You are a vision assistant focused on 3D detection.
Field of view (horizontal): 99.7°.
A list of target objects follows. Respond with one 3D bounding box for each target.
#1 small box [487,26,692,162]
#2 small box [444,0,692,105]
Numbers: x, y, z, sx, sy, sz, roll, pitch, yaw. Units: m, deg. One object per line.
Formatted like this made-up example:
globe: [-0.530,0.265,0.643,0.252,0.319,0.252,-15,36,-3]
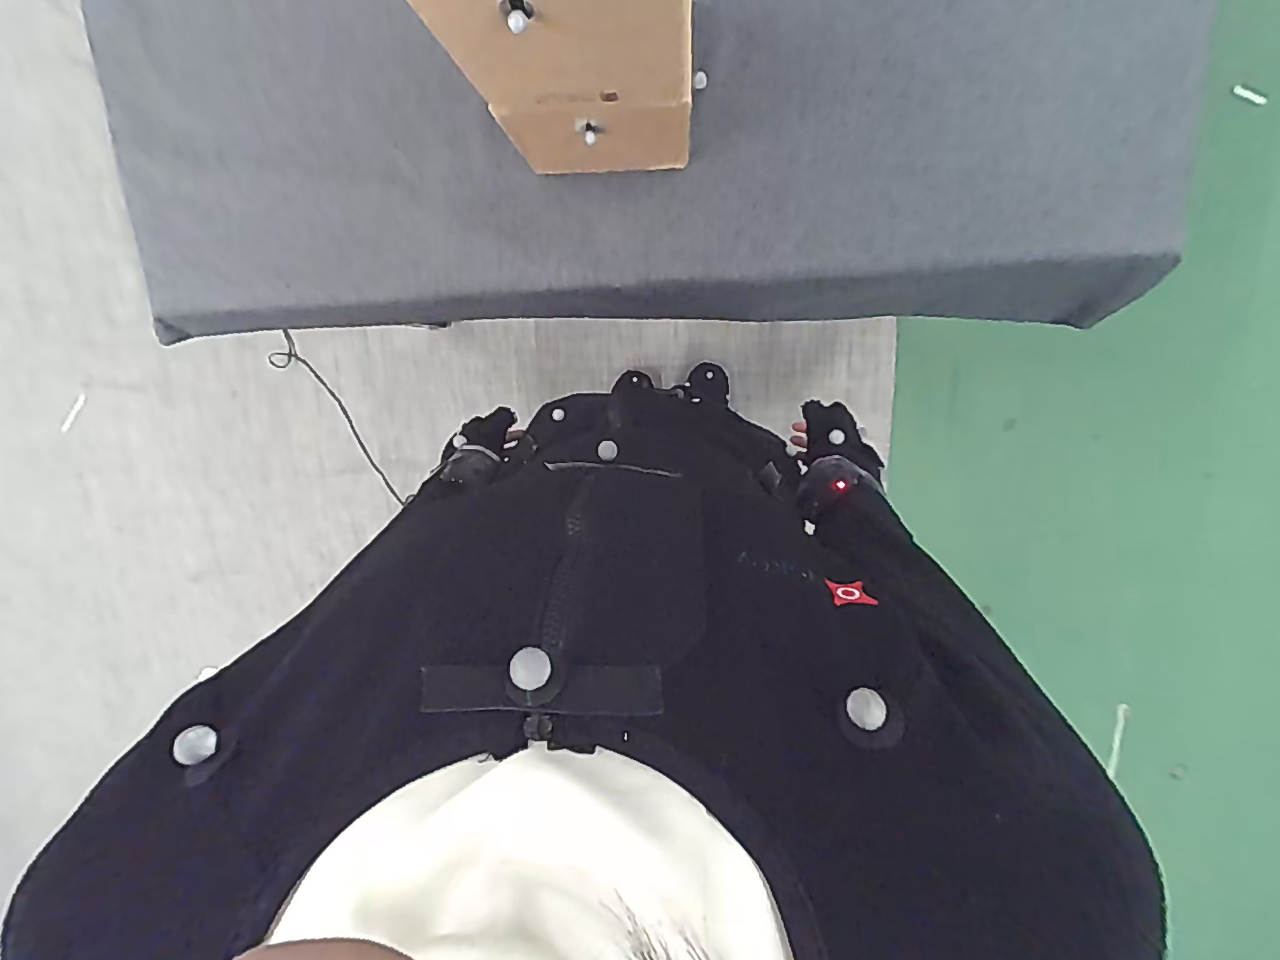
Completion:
small box: [-0.040,-0.425,0.522,0.179,0.176,0.168,0,103,4]
small box: [-0.049,-0.391,0.364,0.168,0.176,0.179,-2,104,4]
